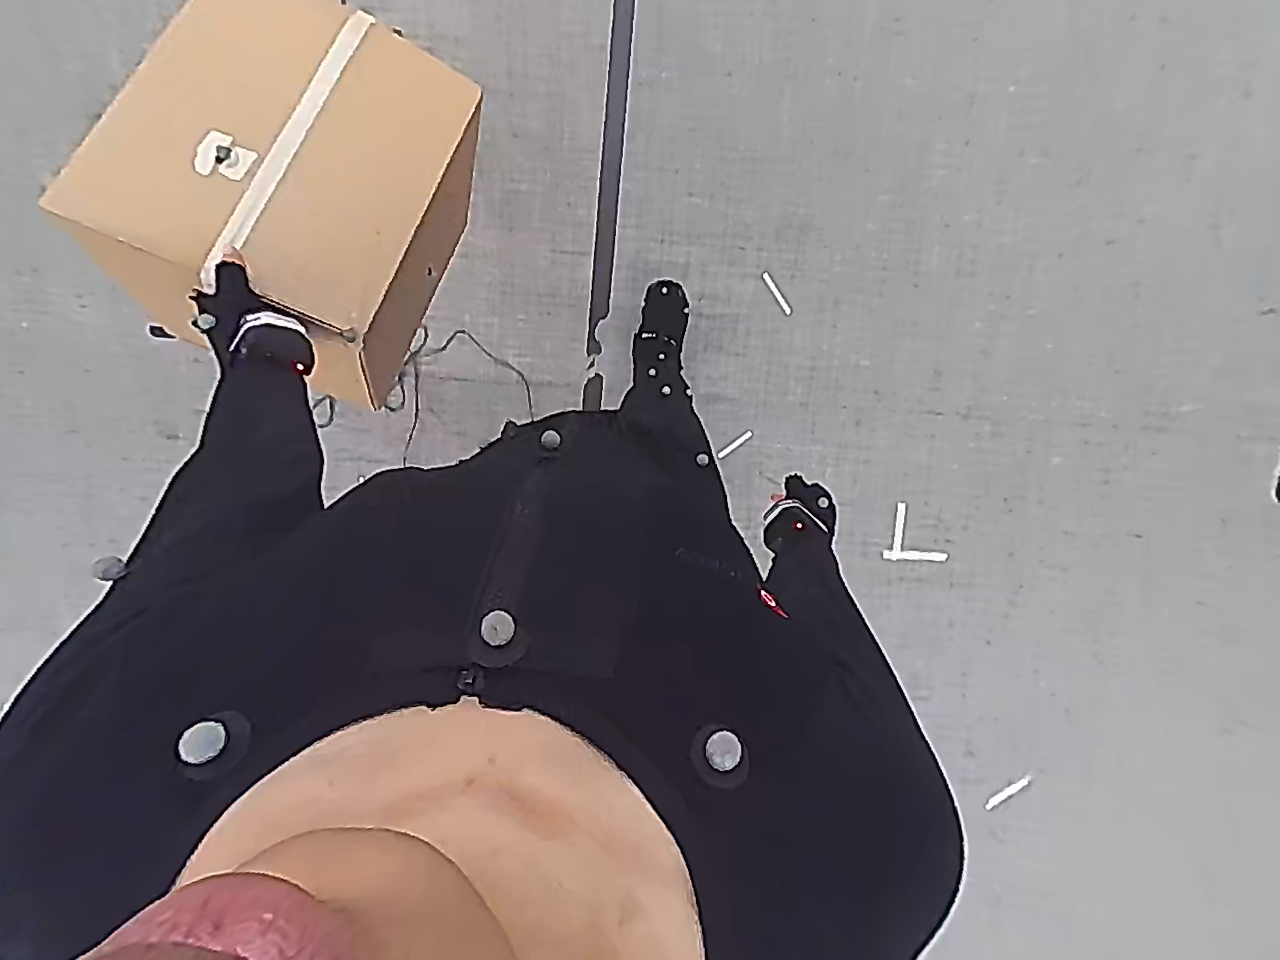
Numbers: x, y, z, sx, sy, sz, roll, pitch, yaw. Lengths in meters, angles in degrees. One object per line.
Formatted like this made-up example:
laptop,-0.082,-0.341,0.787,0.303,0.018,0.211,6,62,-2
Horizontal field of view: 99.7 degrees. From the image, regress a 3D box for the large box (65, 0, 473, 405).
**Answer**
large box,-0.470,-0.380,0.793,0.320,0.320,0.408,21,74,-17
